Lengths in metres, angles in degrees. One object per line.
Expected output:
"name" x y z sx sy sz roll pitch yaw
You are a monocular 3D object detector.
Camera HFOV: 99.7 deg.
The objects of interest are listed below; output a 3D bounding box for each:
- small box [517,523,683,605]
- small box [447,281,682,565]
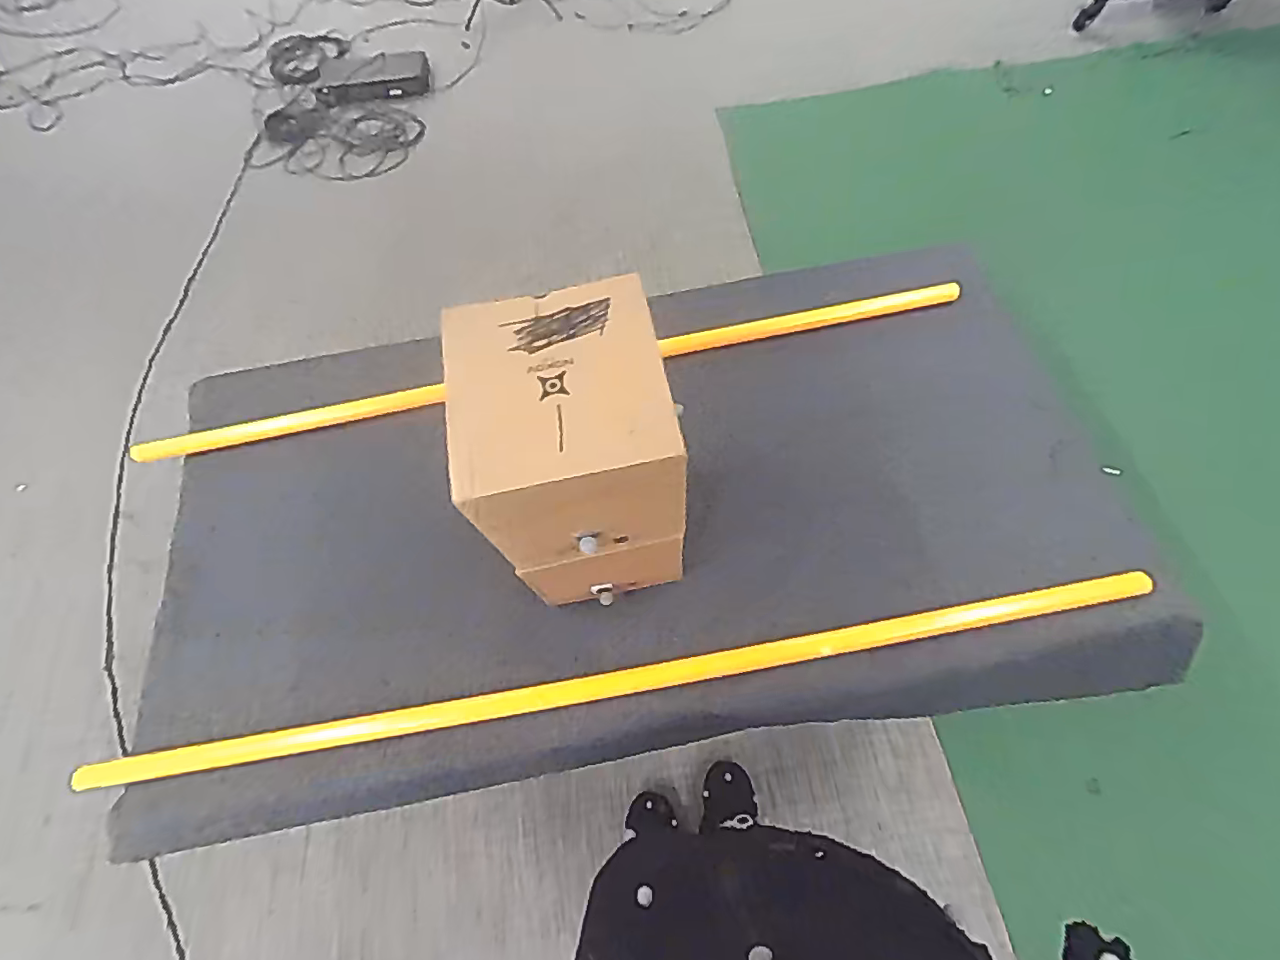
"small box" -0.050 0.031 0.634 0.168 0.176 0.179 -13 66 -1
"small box" -0.061 -0.042 0.486 0.168 0.176 0.179 -12 65 -1
